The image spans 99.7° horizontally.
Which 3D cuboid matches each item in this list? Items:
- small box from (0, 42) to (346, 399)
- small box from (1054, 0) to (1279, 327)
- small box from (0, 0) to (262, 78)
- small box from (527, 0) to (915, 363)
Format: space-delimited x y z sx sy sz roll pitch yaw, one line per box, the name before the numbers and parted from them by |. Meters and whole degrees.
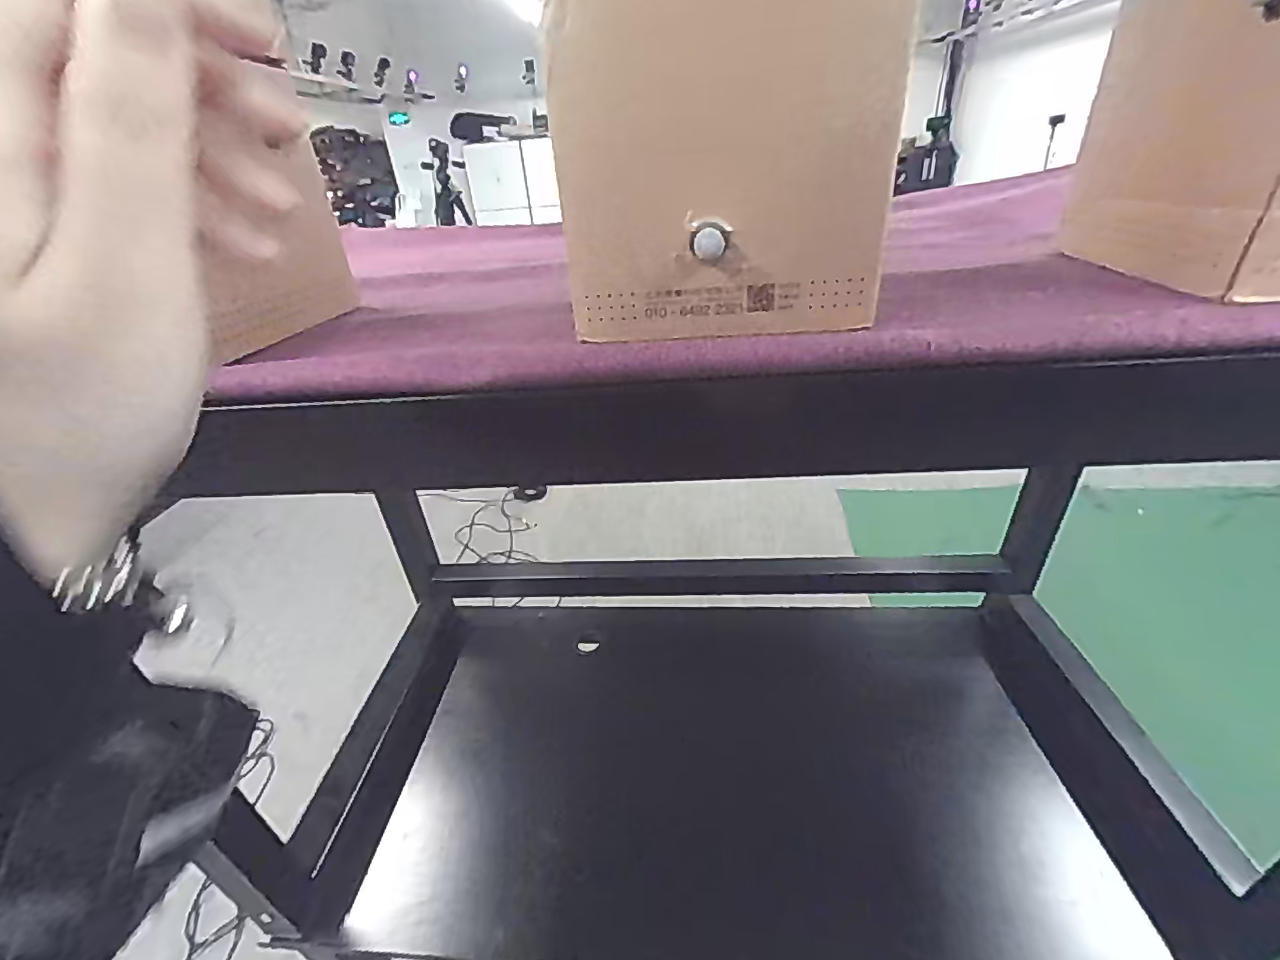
small box | -0.329 -0.162 0.358 0.168 0.176 0.179 -2 31 6
small box | 0.381 -0.192 0.302 0.168 0.176 0.179 -1 33 8
small box | -0.339 -0.301 0.274 0.168 0.176 0.179 -1 31 8
small box | 0.044 -0.181 0.335 0.168 0.176 0.179 -1 33 7
